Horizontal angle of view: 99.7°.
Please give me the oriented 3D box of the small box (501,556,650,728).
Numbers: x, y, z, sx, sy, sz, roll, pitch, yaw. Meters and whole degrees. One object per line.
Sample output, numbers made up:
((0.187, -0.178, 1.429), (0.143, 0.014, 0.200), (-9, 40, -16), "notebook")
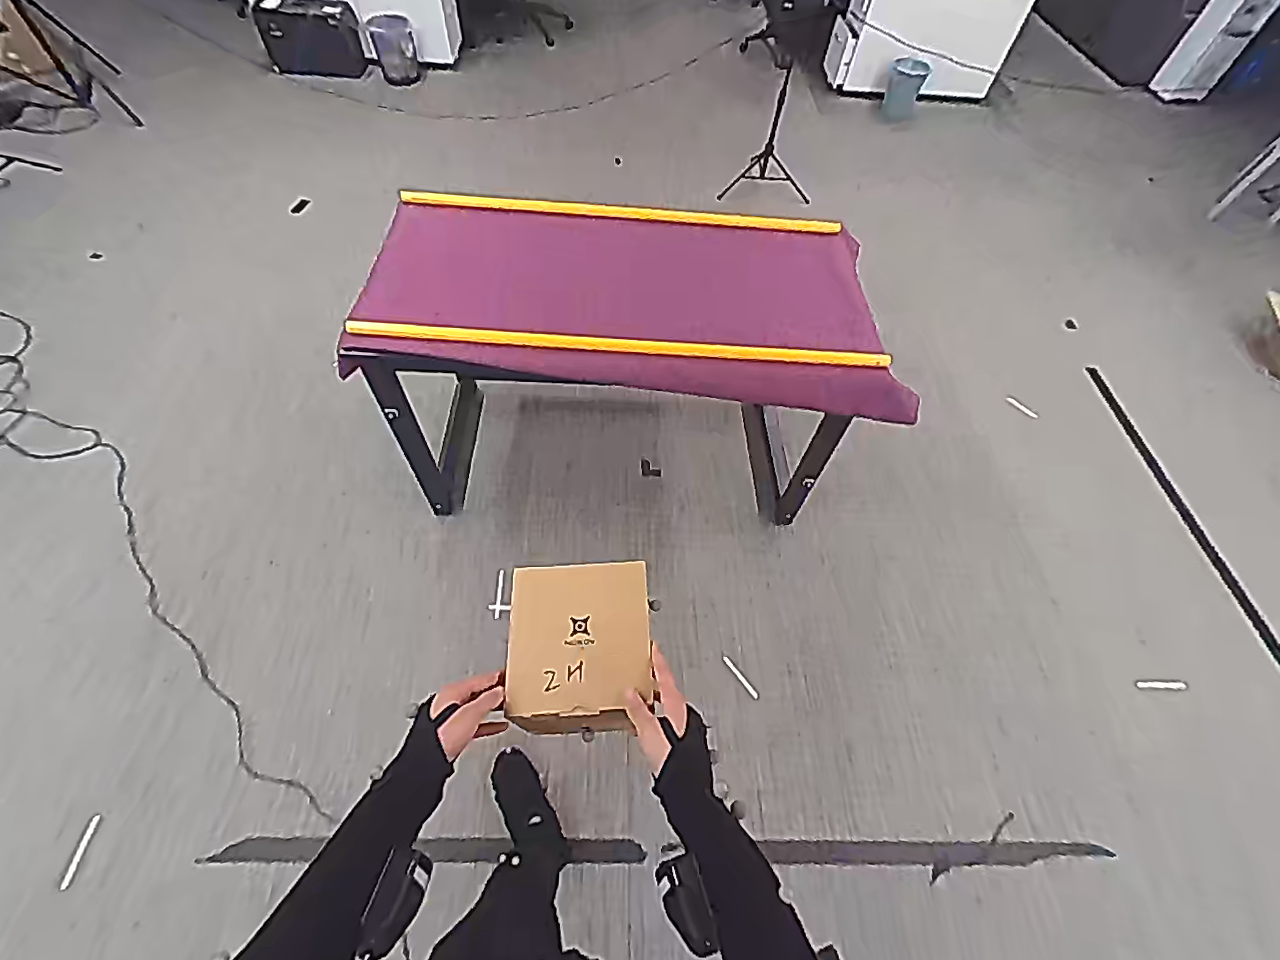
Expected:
((-0.073, 0.214, 0.702), (0.168, 0.176, 0.179), (-3, 59, 0), "small box")
